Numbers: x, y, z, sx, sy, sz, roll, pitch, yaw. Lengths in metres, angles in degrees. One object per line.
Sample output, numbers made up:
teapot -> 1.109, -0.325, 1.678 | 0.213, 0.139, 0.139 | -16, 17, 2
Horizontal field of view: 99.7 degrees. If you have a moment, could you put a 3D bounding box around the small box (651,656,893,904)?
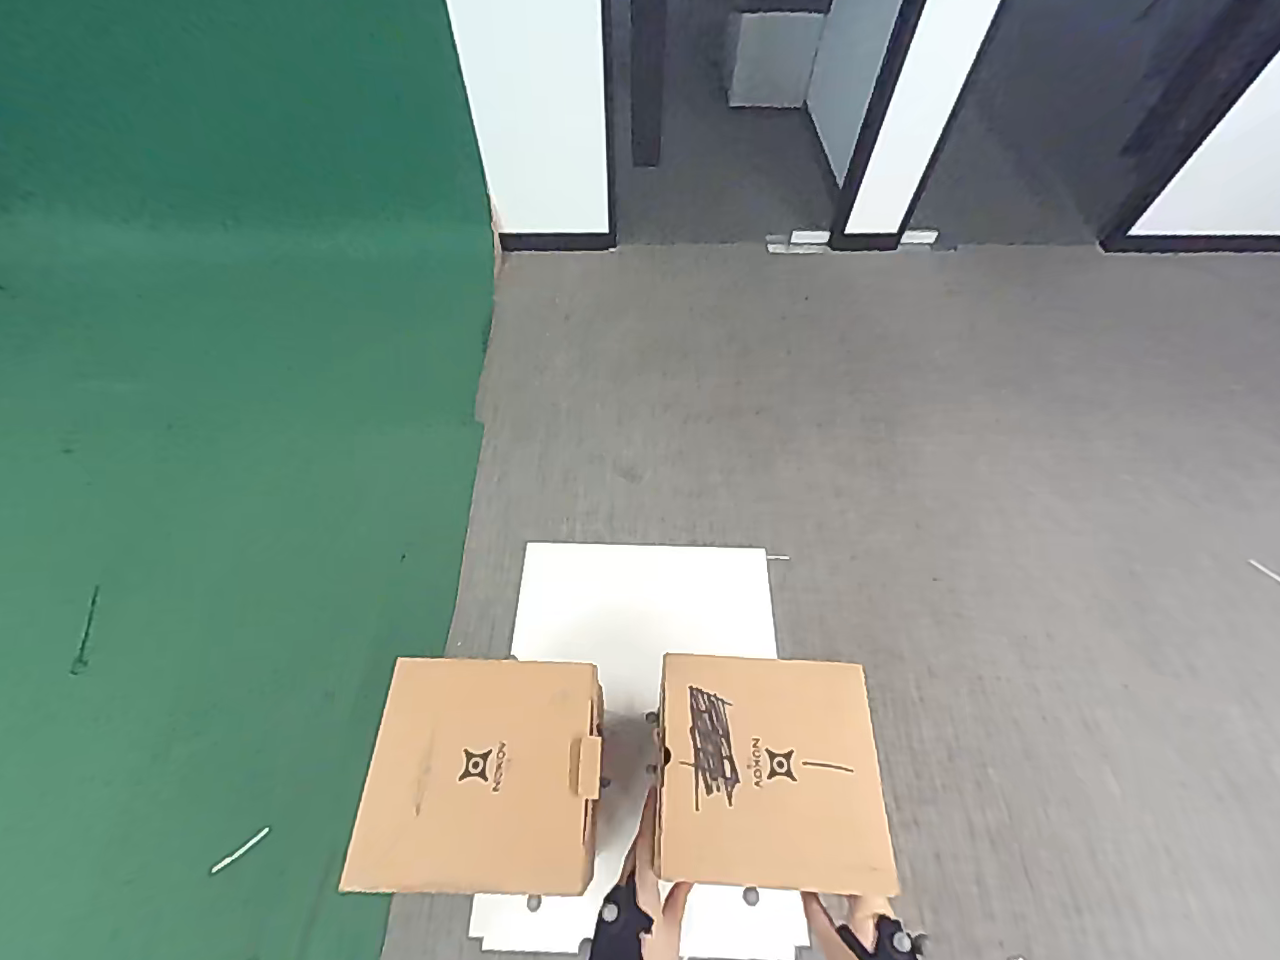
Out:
small box -> 0.101, 0.274, 0.498 | 0.179, 0.176, 0.168 | 4, 57, 2

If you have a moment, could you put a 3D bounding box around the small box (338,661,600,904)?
small box -> -0.129, 0.274, 0.494 | 0.179, 0.176, 0.168 | 2, 56, -1
